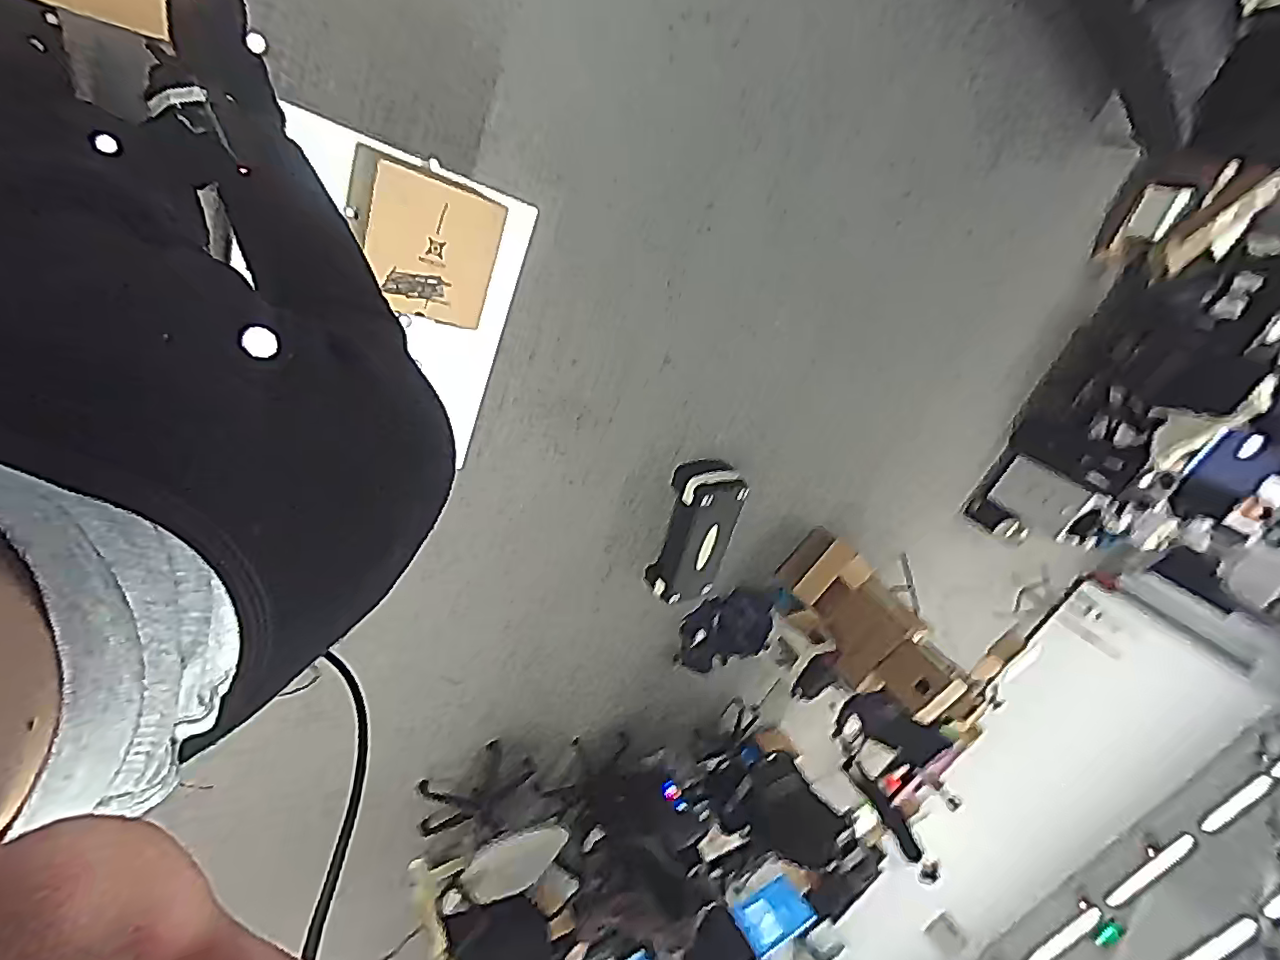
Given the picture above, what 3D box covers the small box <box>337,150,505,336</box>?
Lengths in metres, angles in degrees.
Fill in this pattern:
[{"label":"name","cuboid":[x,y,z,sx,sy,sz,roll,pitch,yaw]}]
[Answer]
[{"label":"small box","cuboid":[-0.315,-0.331,0.760,0.168,0.176,0.179,4,119,-40]}]
